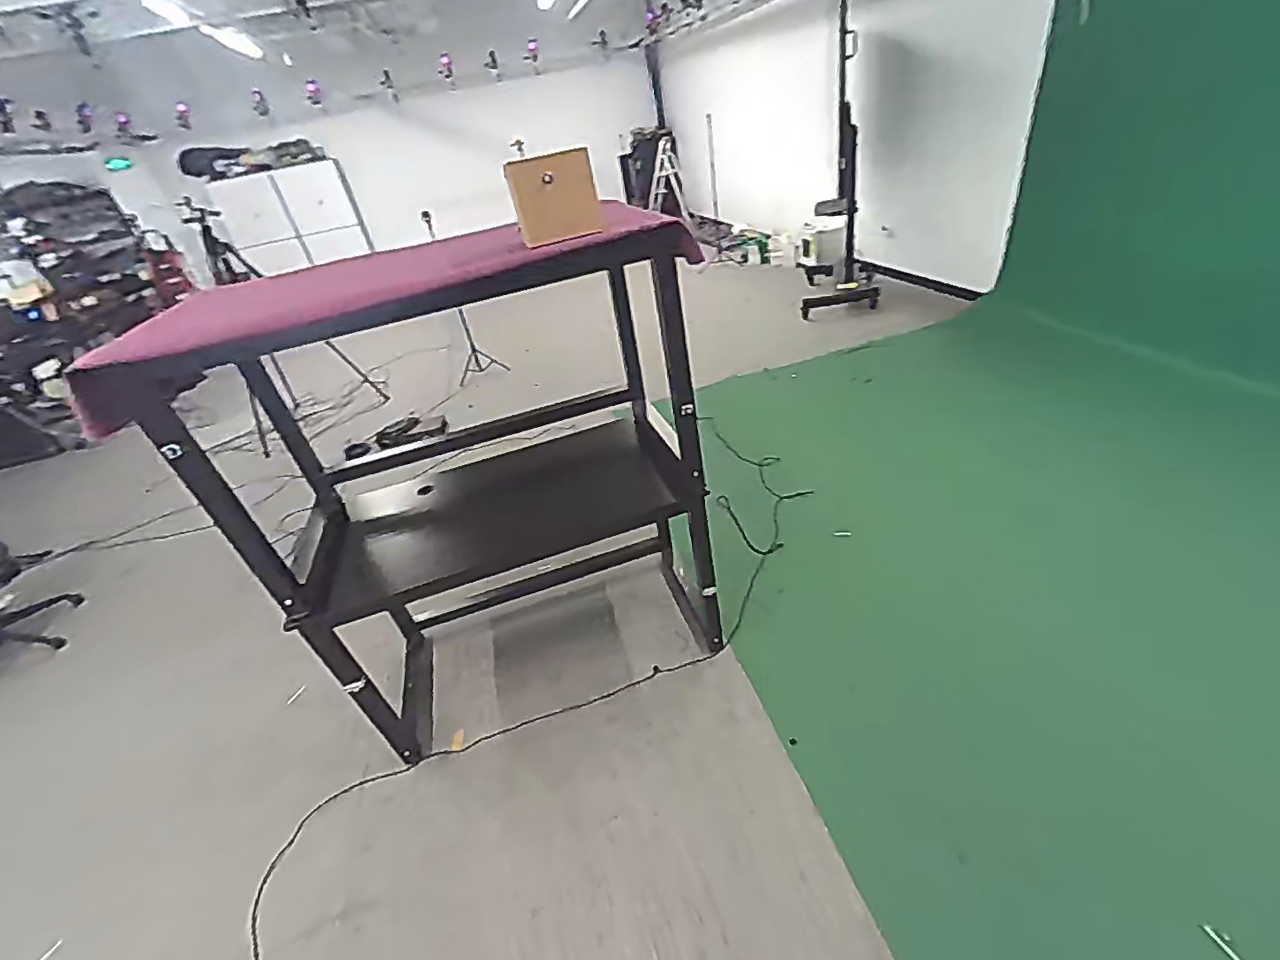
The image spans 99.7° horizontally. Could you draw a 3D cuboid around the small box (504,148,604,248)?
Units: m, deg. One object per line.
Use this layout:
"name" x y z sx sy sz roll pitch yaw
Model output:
"small box" -0.197 -0.641 1.232 0.179 0.176 0.168 -17 33 -8
